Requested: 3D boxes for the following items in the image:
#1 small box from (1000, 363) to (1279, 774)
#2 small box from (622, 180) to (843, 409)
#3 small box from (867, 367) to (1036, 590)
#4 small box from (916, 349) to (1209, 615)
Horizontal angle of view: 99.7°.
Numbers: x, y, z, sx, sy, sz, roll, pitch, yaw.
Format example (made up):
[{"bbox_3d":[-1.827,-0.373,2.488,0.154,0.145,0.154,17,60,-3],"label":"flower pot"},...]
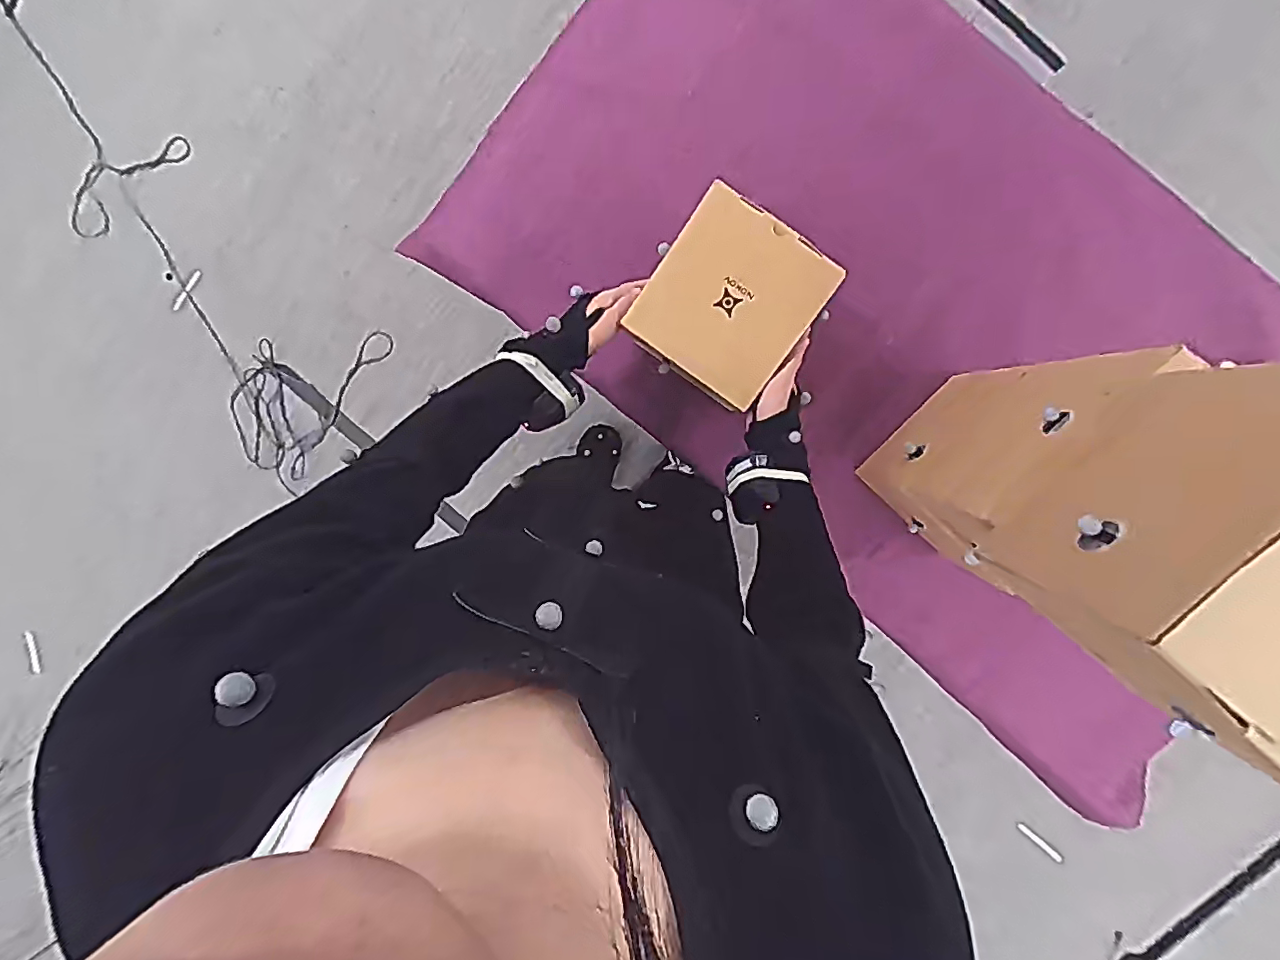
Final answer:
[{"bbox_3d":[0.357,0.050,0.313,0.168,0.176,0.179,40,98,-1],"label":"small box"},{"bbox_3d":[0.101,-0.198,0.637,0.168,0.176,0.179,35,98,0],"label":"small box"},{"bbox_3d":[0.395,-0.007,0.633,0.168,0.176,0.179,43,98,-1],"label":"small box"},{"bbox_3d":[0.385,0.012,0.470,0.168,0.176,0.179,43,99,-1],"label":"small box"}]
